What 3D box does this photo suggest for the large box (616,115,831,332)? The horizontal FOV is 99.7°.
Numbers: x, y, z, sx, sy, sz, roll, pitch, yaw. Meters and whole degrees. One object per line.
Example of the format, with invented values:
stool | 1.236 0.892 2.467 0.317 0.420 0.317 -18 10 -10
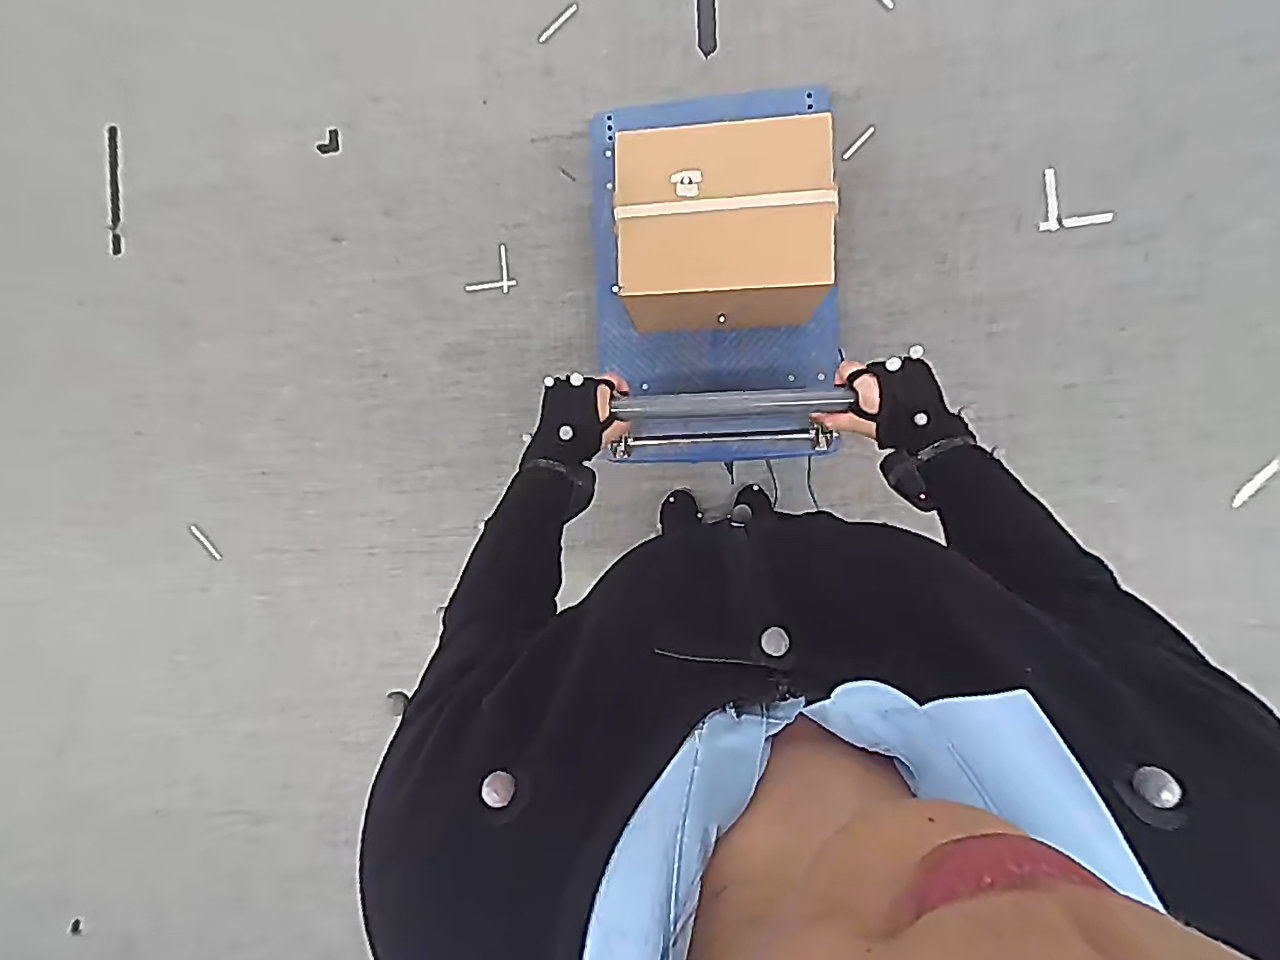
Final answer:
large box | 0.176 -0.520 1.176 0.408 0.320 0.320 -1 90 8
